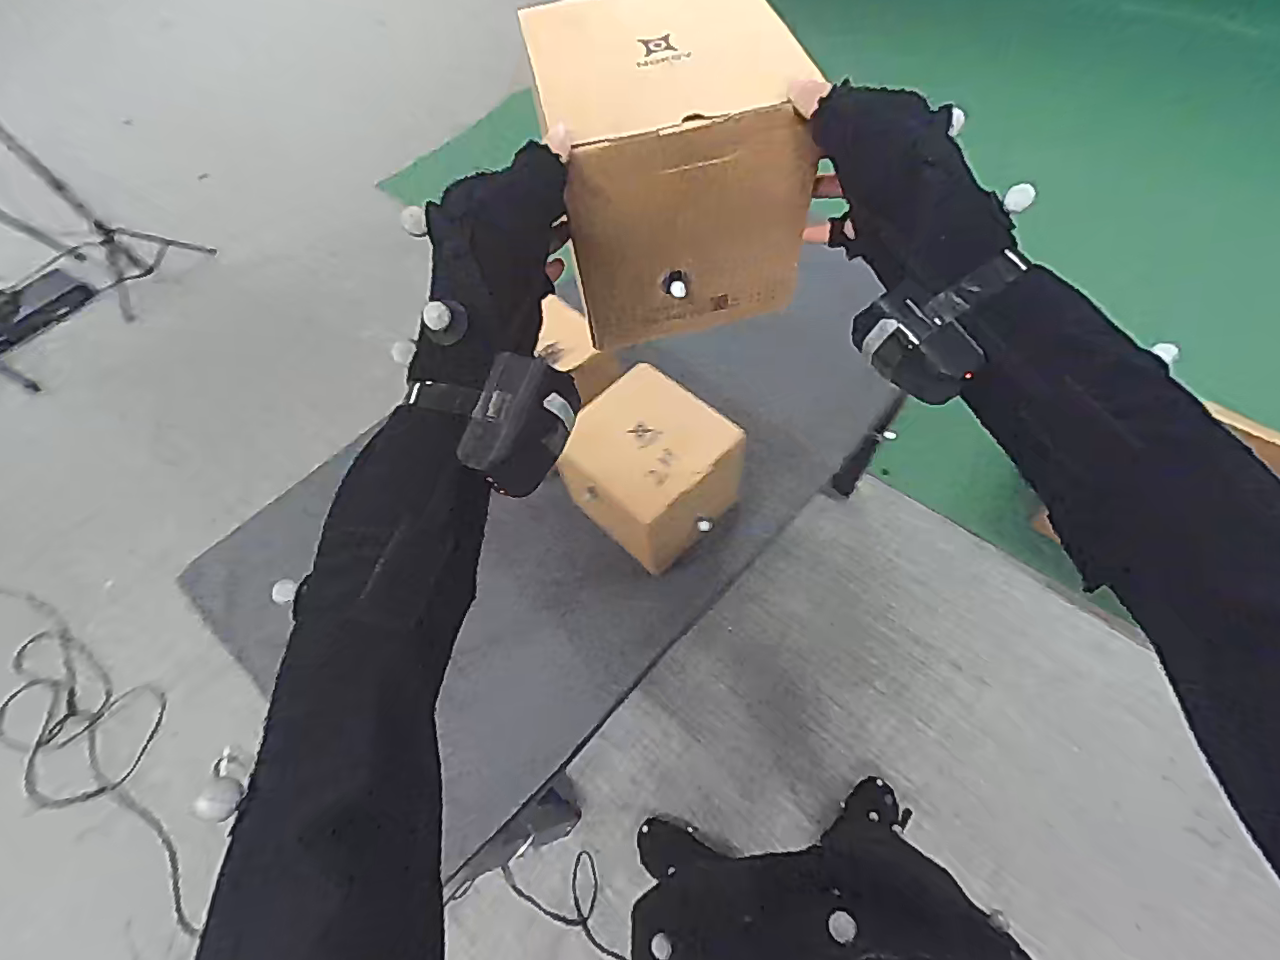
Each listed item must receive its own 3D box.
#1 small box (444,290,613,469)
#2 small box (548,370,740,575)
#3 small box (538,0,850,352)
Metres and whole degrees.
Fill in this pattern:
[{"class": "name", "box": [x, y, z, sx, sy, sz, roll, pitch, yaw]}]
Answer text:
[{"class": "small box", "box": [-0.150, -0.140, 0.809, 0.168, 0.176, 0.179, -42, 65, -17]}, {"class": "small box", "box": [0.009, -0.004, 0.716, 0.168, 0.176, 0.179, -42, 65, -17]}, {"class": "small box", "box": [0.029, -0.230, 0.417, 0.168, 0.176, 0.179, -14, 62, -2]}]
